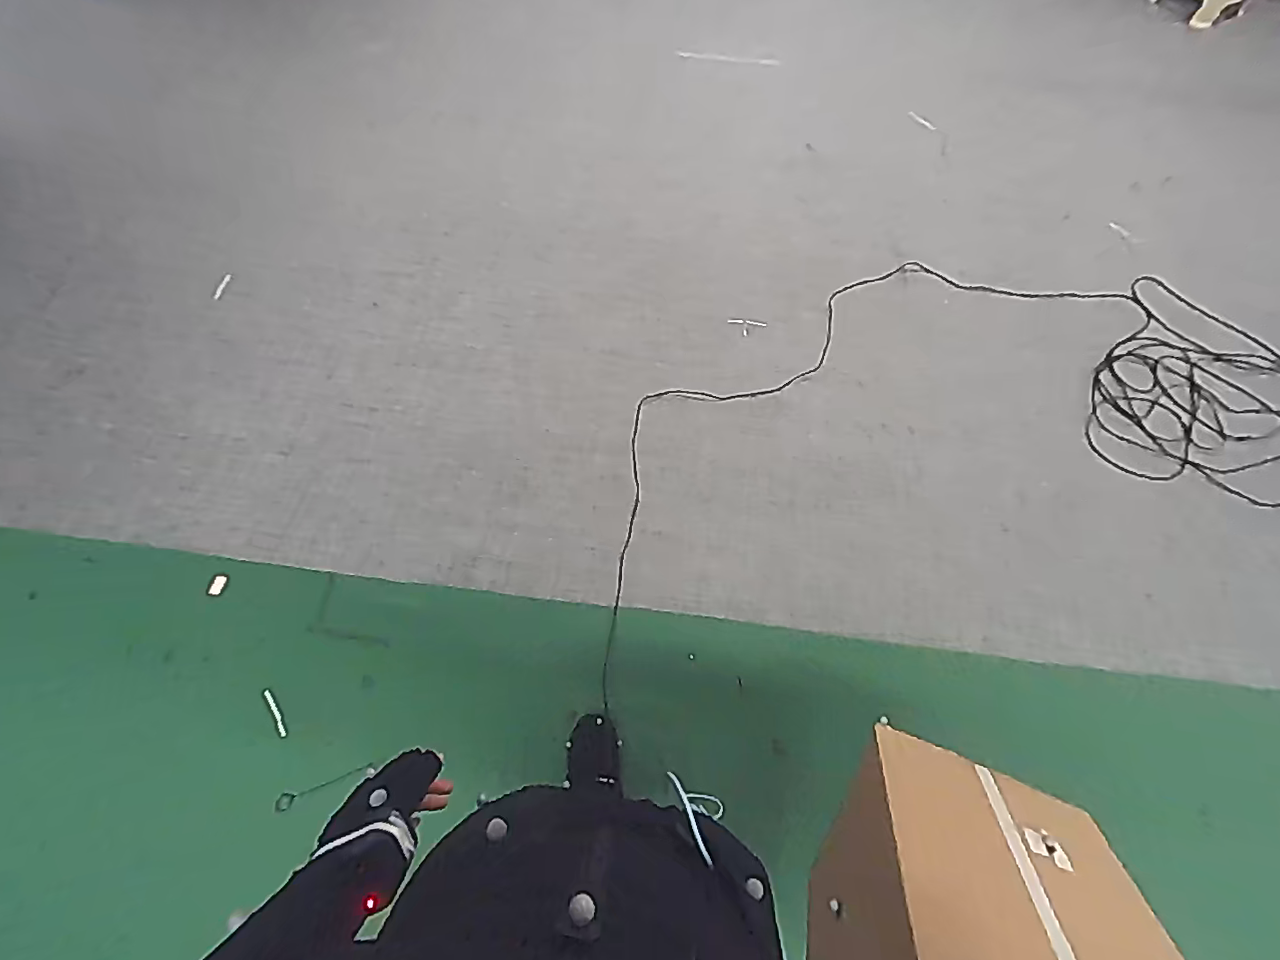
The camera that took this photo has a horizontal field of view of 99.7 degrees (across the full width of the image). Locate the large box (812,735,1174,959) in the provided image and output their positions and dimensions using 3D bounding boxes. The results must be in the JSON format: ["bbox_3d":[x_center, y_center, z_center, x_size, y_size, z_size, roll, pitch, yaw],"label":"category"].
[{"bbox_3d":[0.416,0.623,0.675,0.320,0.408,0.320,21,103,14],"label":"large box"}]
